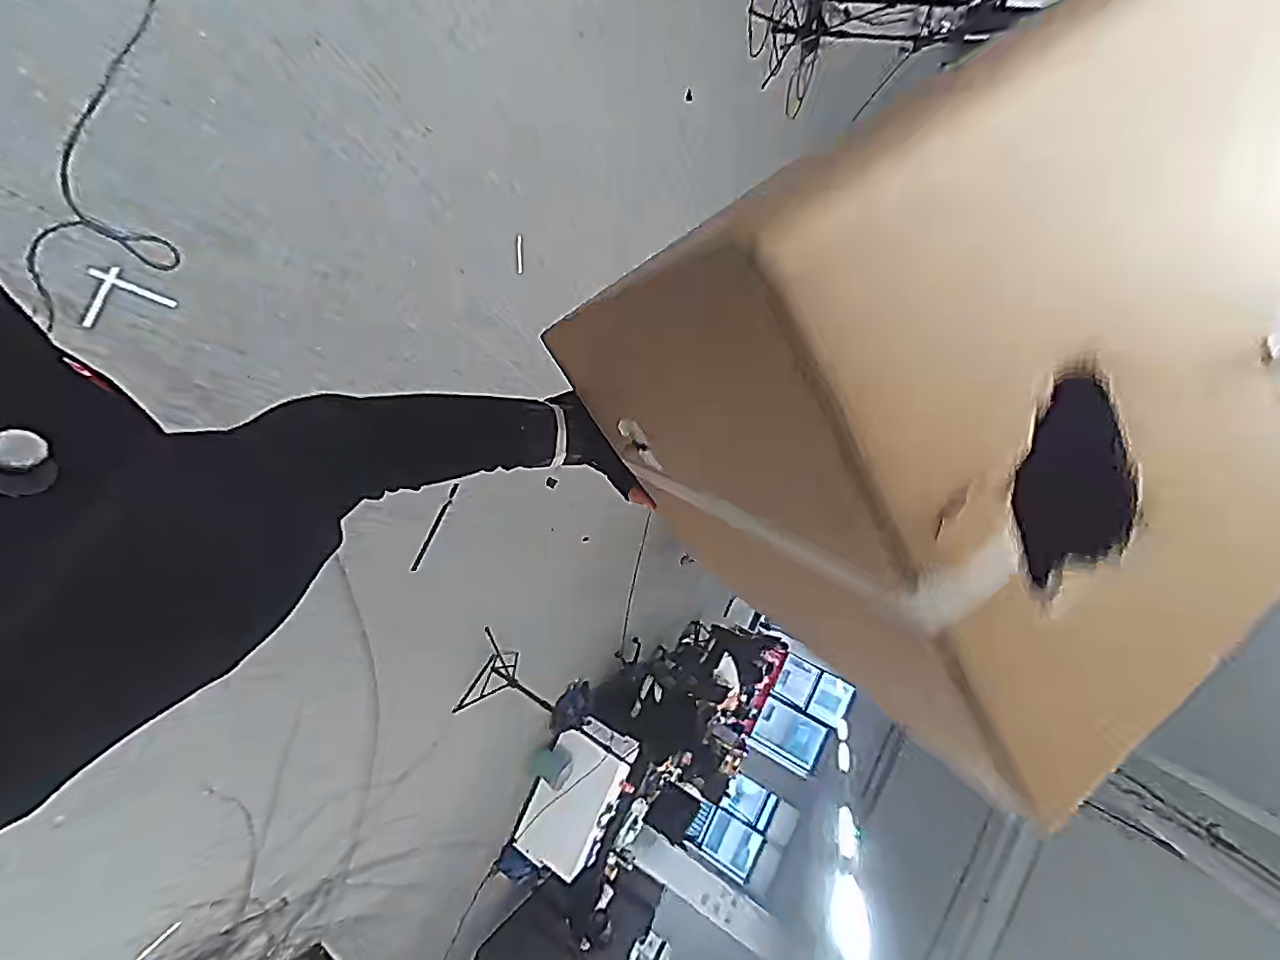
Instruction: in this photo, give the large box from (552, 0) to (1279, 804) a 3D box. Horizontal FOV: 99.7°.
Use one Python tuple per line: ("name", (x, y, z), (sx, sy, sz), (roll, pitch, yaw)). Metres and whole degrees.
("large box", (0.166, -0.075, 0.425), (0.320, 0.408, 0.320), (-35, 110, -7))
